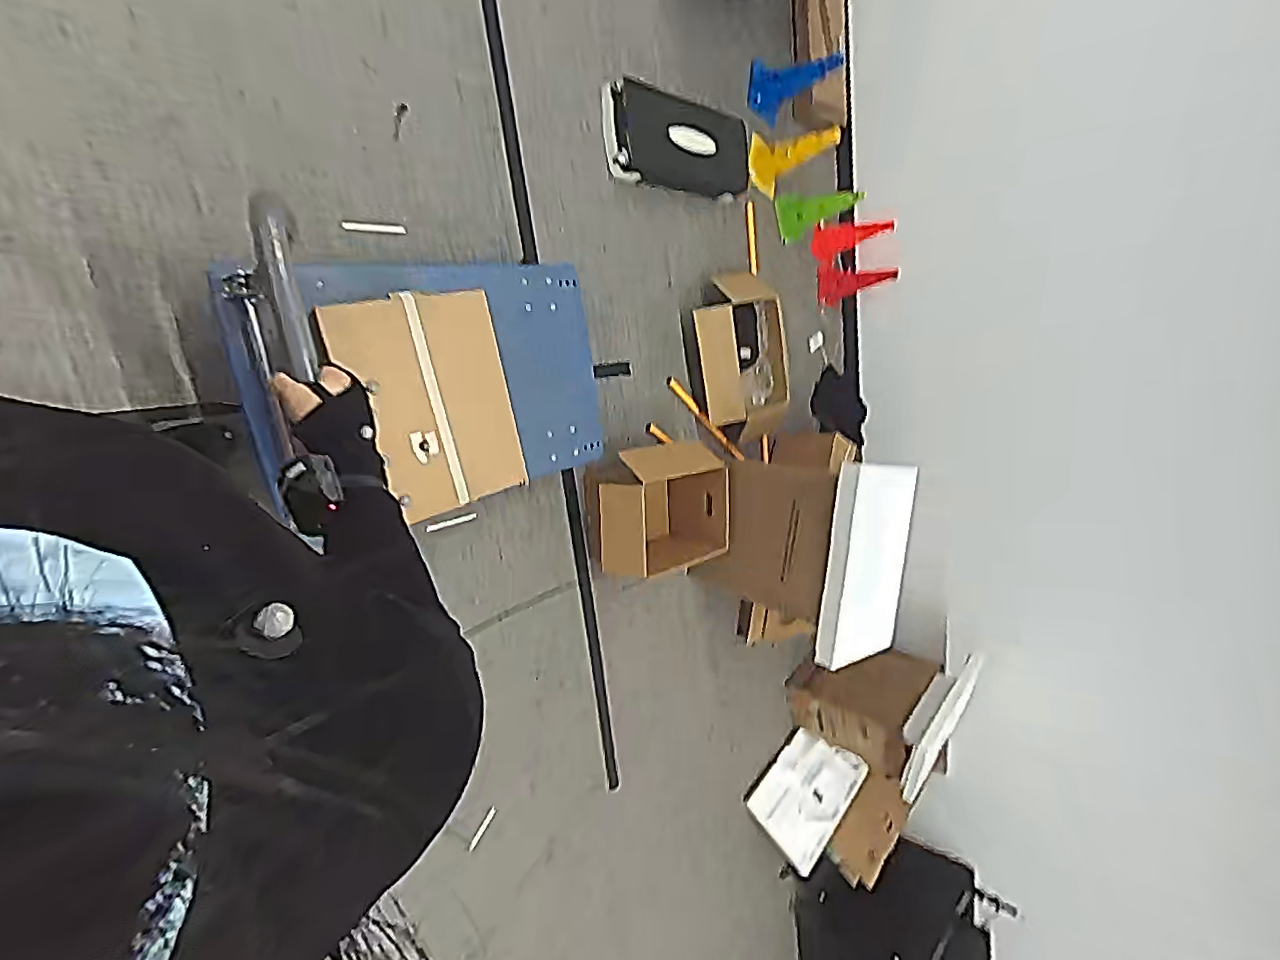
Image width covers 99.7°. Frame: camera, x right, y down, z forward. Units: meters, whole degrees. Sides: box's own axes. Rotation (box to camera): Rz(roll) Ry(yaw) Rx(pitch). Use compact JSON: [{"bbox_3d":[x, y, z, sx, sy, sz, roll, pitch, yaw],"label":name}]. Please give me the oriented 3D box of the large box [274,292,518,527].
[{"bbox_3d":[-0.511,-0.160,1.150,0.320,0.320,0.408,-23,112,-38],"label":"large box"}]
